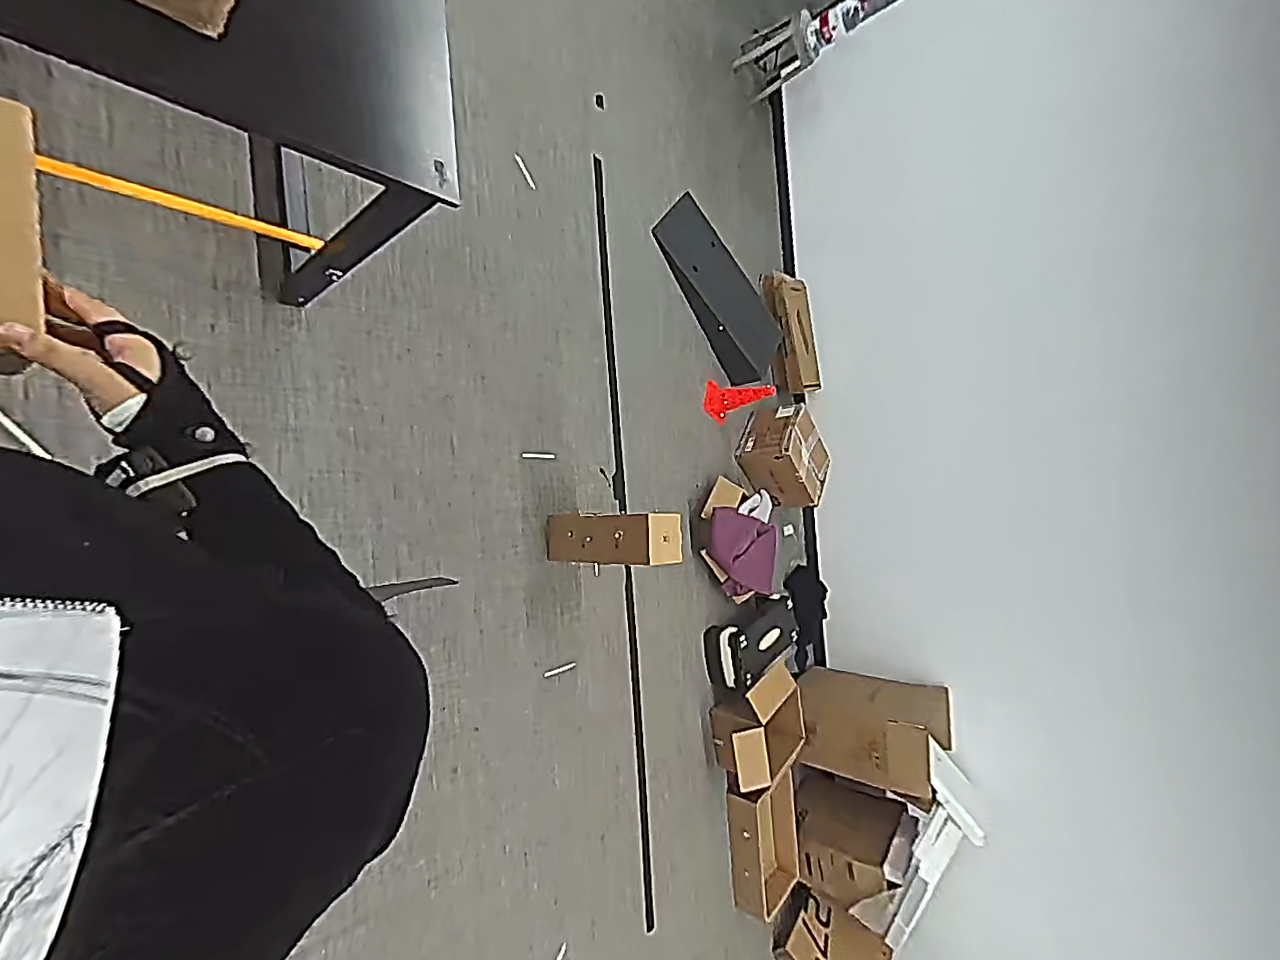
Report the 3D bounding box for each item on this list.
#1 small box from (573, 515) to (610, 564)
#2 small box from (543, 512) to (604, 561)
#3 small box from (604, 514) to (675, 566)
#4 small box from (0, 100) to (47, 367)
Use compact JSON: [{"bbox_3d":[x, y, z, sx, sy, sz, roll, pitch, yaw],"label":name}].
[{"bbox_3d":[-0.118,0.207,1.919,0.179,0.176,0.168,4,83,-50],"label":"small box"},{"bbox_3d":[-0.249,0.210,2.019,0.168,0.176,0.179,5,83,-50],"label":"small box"},{"bbox_3d":[-0.001,0.197,1.806,0.179,0.176,0.168,4,83,-50],"label":"small box"},{"bbox_3d":[-0.540,-0.176,0.371,0.168,0.176,0.179,-5,97,-53],"label":"small box"}]
